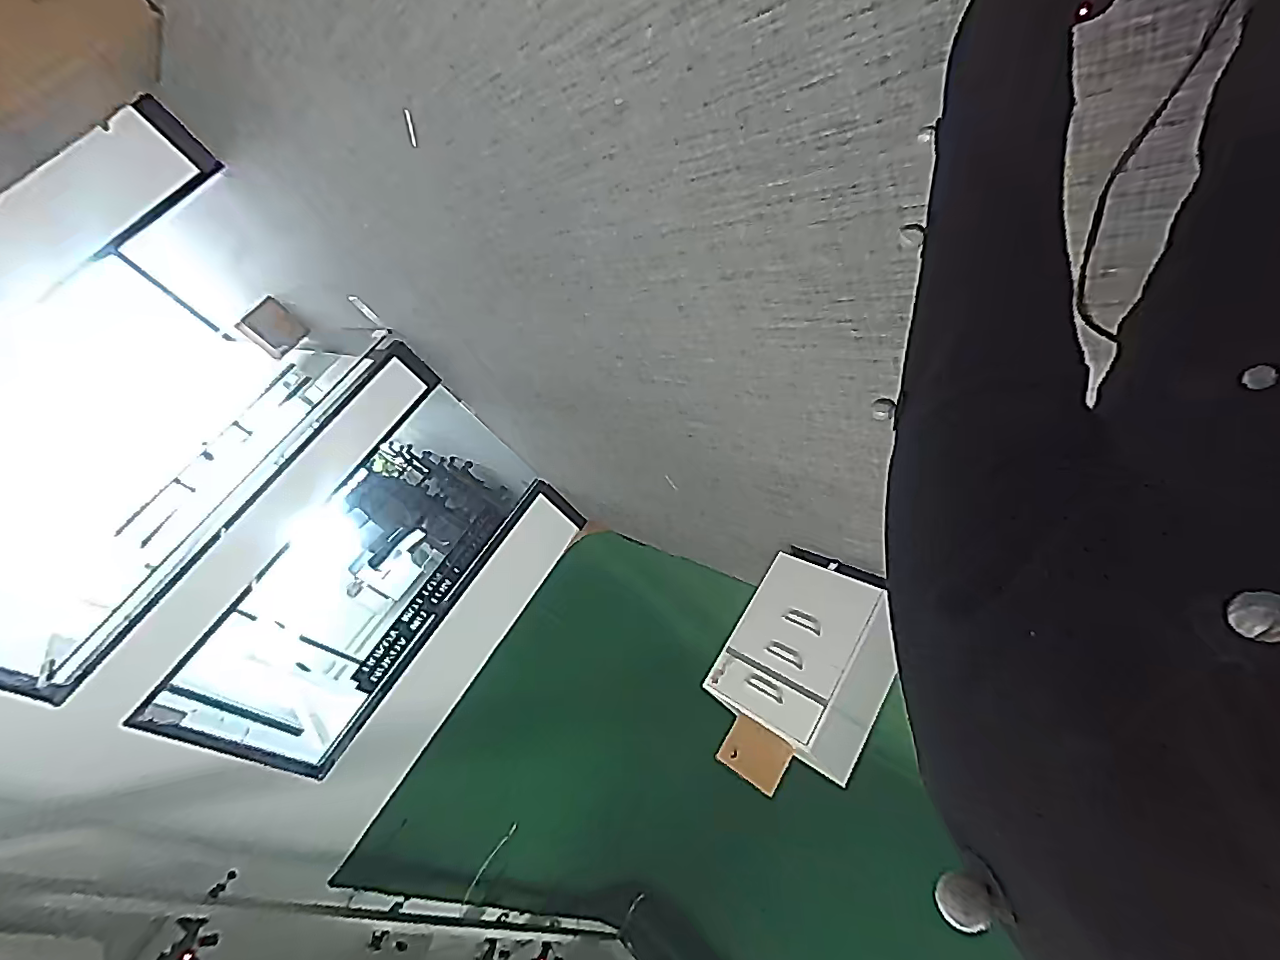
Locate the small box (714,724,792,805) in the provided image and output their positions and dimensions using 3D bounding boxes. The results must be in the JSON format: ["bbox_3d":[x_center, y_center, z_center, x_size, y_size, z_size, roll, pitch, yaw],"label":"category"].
[{"bbox_3d":[0.373,0.921,1.769,0.179,0.176,0.168,22,158,36],"label":"small box"}]
